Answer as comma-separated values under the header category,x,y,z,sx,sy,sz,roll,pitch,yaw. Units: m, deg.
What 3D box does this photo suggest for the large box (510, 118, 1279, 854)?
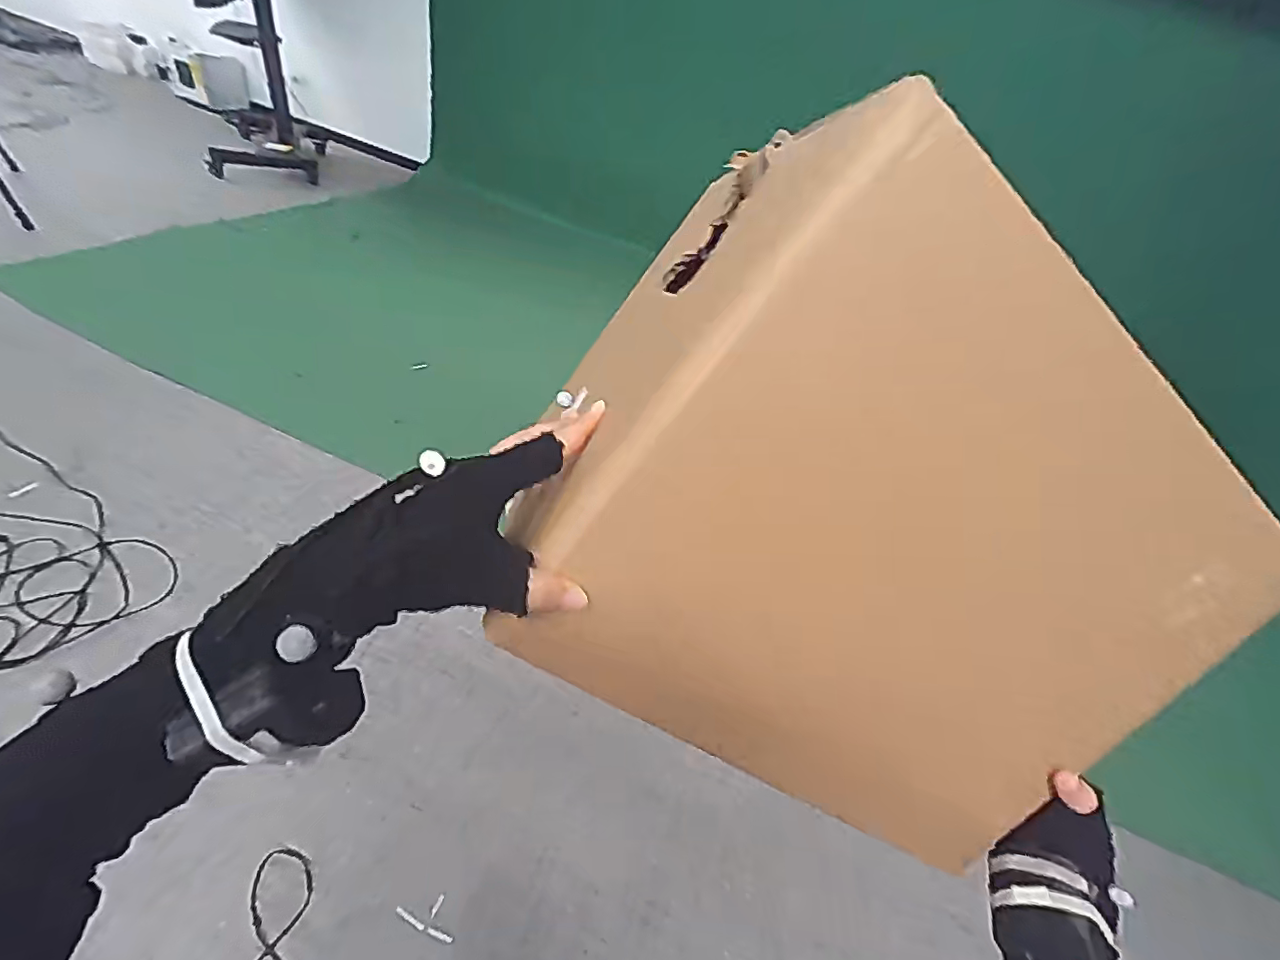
category,x,y,z,sx,sy,sz,roll,pitch,yaw
large box,0.149,0.017,0.451,0.408,0.320,0.320,36,14,-19
